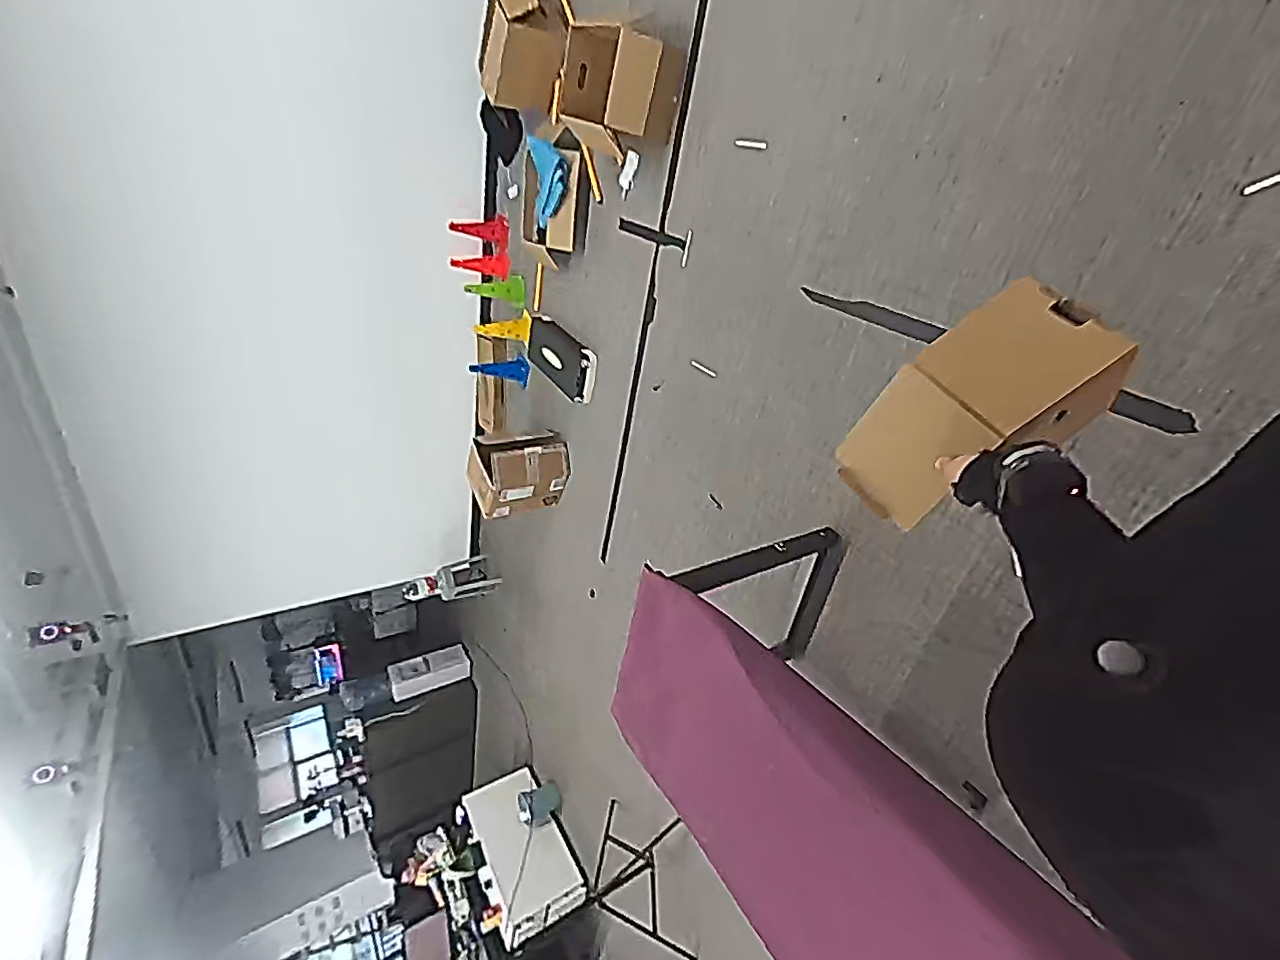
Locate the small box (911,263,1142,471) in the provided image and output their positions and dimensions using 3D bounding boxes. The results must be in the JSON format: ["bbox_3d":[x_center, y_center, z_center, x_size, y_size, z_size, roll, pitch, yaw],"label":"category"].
[{"bbox_3d":[0.498,-0.139,0.722,0.179,0.176,0.168,-37,56,12],"label":"small box"}]
